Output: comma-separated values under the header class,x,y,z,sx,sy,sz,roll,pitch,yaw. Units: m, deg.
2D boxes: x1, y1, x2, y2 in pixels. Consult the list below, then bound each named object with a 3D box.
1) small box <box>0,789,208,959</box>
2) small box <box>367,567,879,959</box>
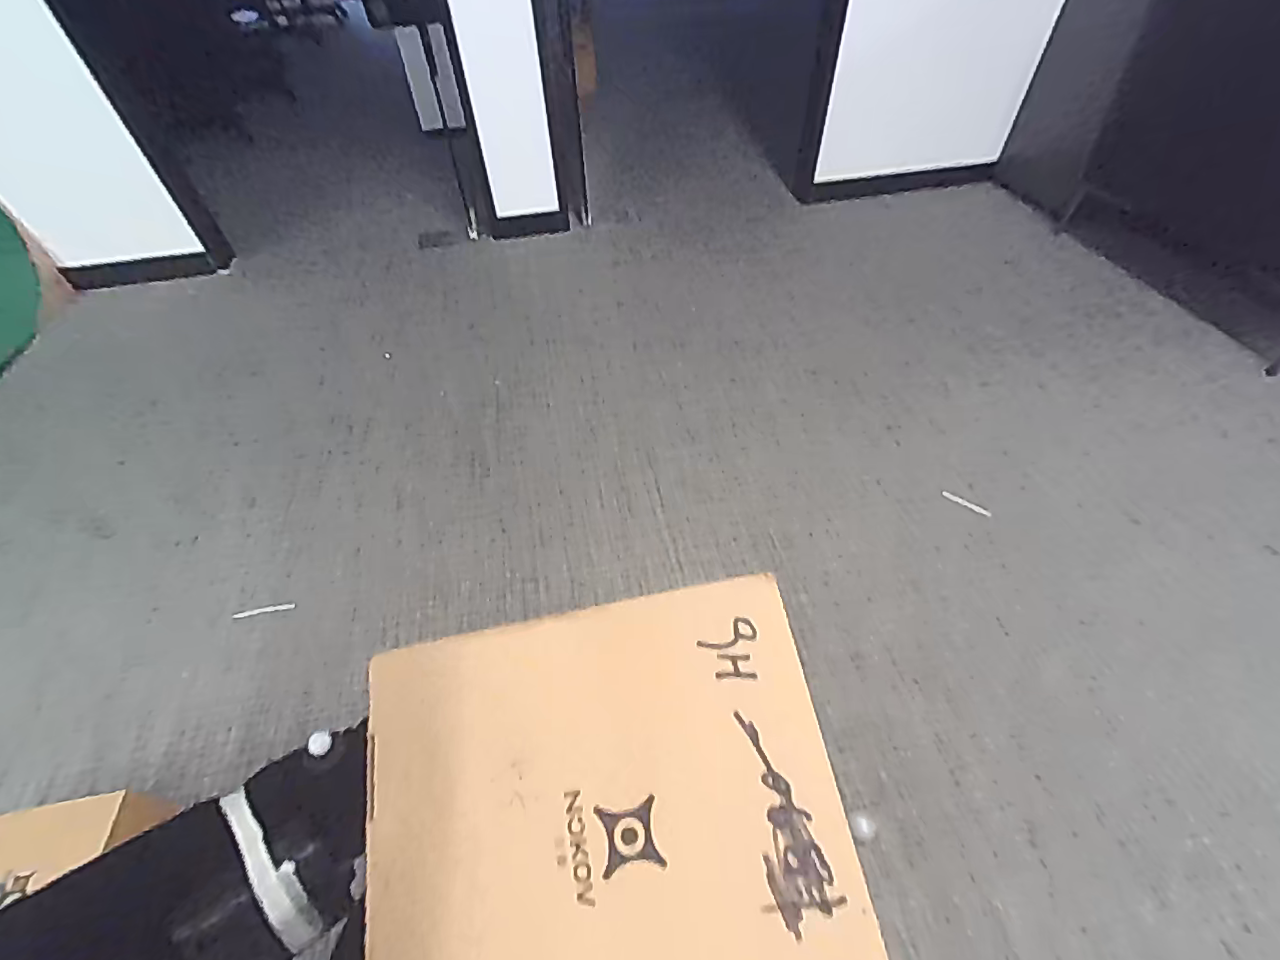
class,x,y,z,sx,sy,sz,roll,pitch,yaw
small box,-0.704,0.513,0.682,0.179,0.176,0.168,-9,48,-6
small box,-0.009,0.157,0.273,0.179,0.176,0.168,-12,67,-1
